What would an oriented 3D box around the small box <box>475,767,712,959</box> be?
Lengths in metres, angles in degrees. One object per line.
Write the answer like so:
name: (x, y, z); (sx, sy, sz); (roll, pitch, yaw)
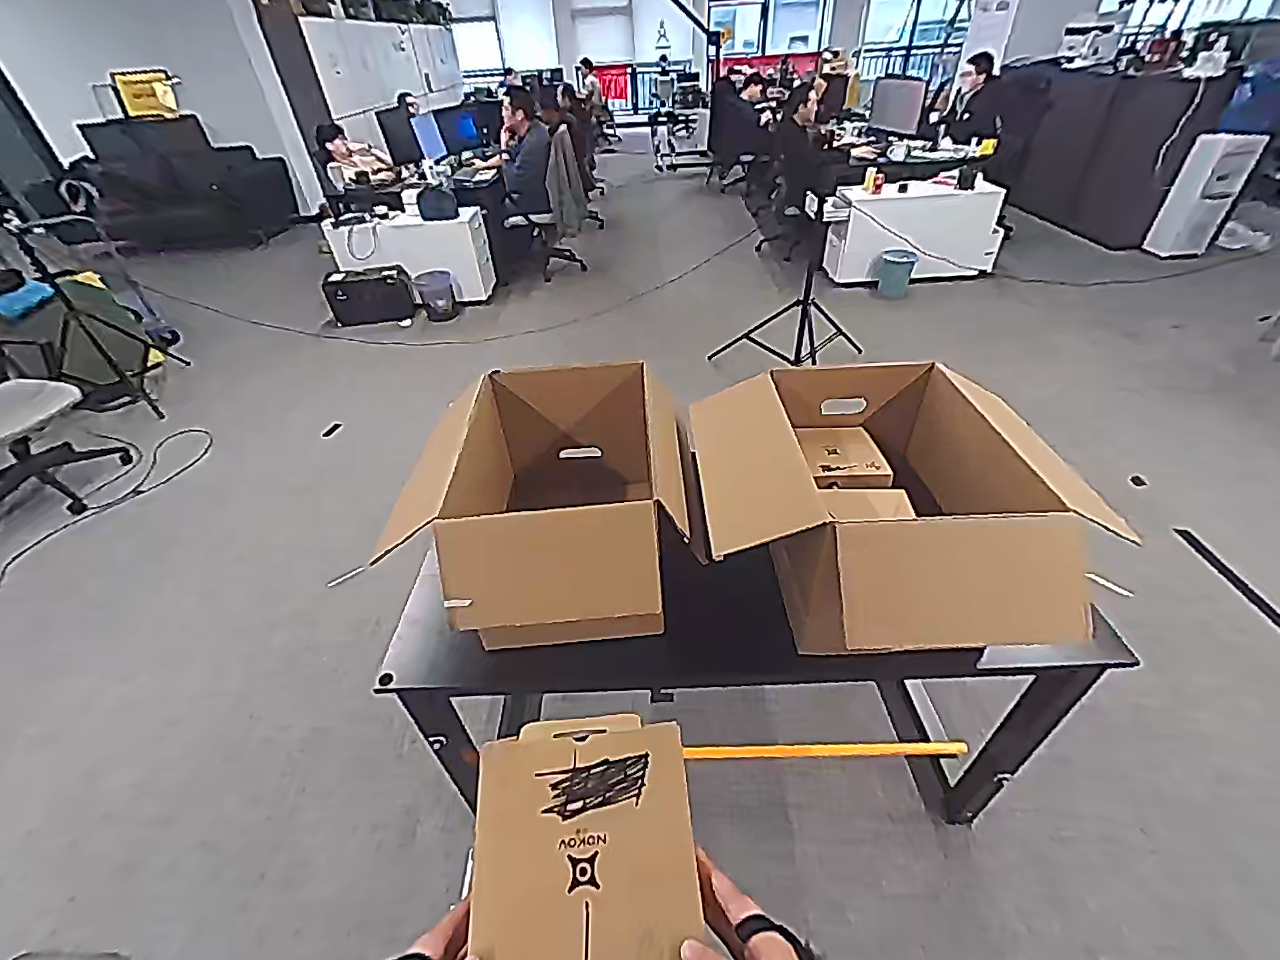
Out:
small box: (-0.034, 0.358, 0.449); (0.168, 0.176, 0.179); (-5, 53, -3)
